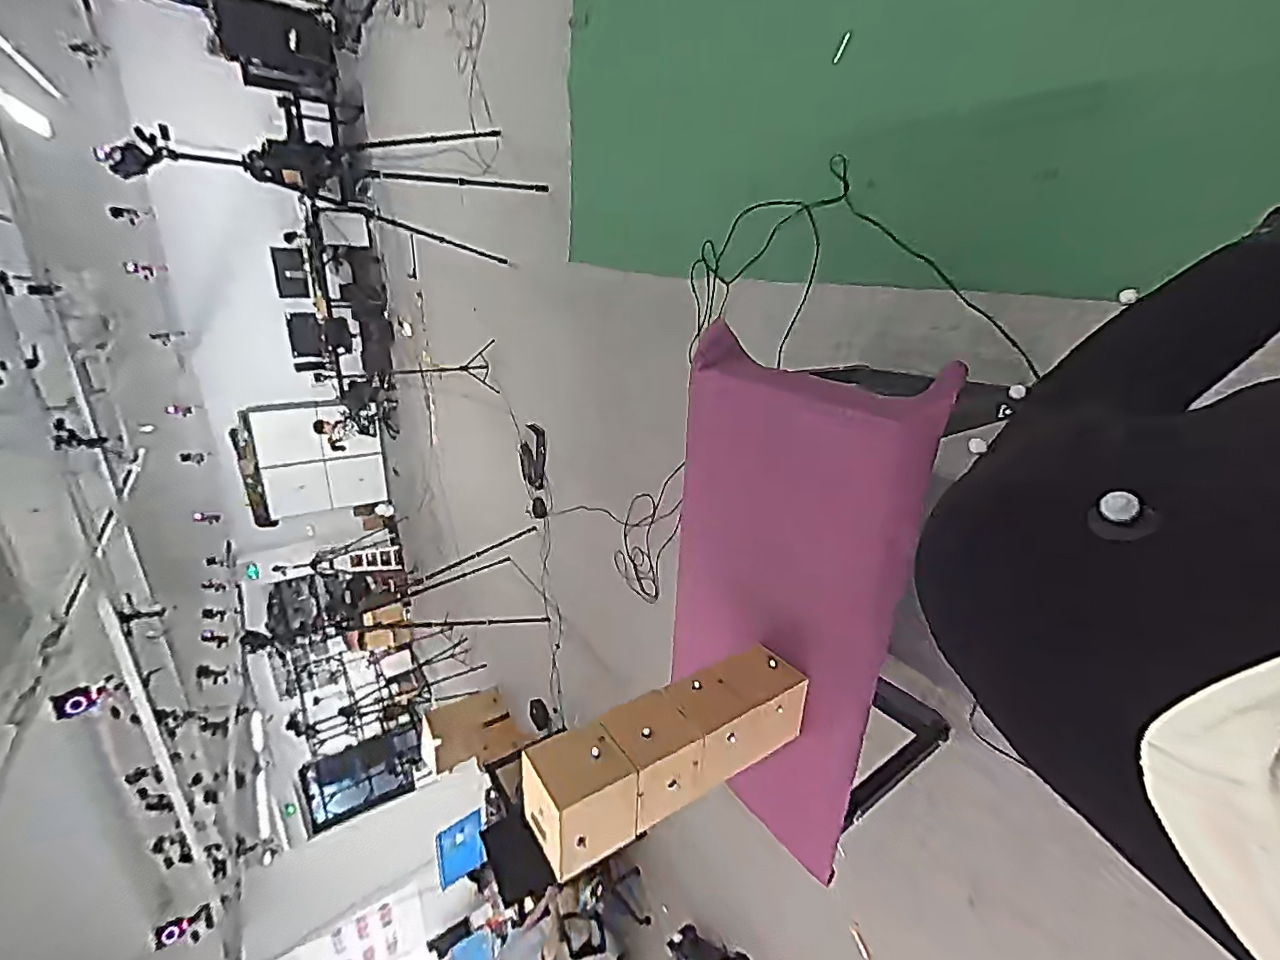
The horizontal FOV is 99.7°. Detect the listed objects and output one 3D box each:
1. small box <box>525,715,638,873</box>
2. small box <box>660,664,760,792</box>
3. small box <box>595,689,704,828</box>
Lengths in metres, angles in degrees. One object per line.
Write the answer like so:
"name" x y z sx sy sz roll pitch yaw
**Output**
"small box" -0.116 0.608 1.066 0.168 0.176 0.179 27 120 51
"small box" 0.156 0.557 1.243 0.168 0.176 0.179 29 123 50
"small box" 0.018 0.582 1.159 0.179 0.176 0.168 27 120 50
